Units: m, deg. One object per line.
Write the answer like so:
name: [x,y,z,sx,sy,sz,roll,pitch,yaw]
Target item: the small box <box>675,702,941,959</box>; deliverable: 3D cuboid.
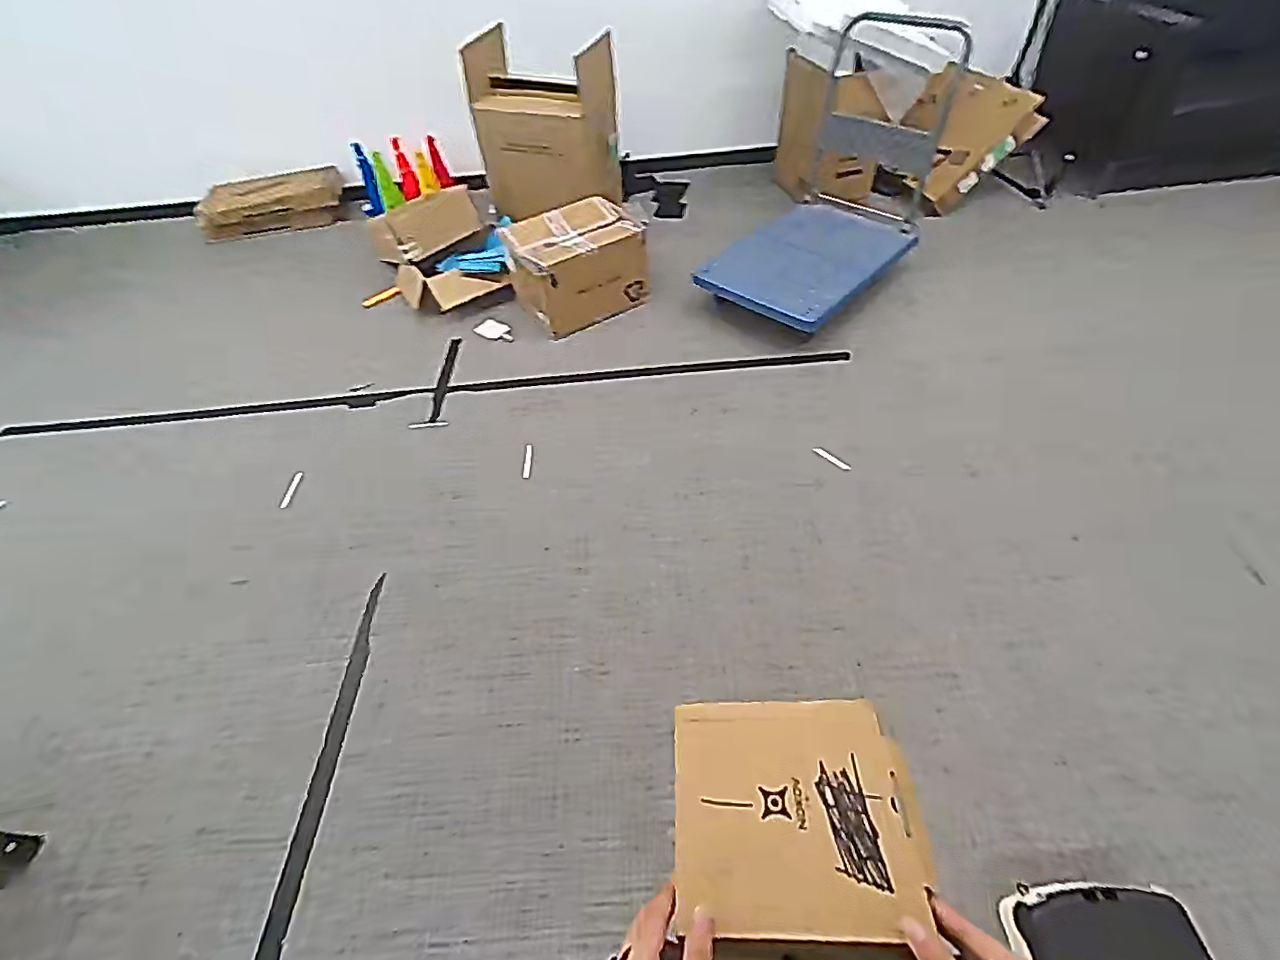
small box: [0.123,0.310,0.470,0.179,0.176,0.168,-4,42,6]
